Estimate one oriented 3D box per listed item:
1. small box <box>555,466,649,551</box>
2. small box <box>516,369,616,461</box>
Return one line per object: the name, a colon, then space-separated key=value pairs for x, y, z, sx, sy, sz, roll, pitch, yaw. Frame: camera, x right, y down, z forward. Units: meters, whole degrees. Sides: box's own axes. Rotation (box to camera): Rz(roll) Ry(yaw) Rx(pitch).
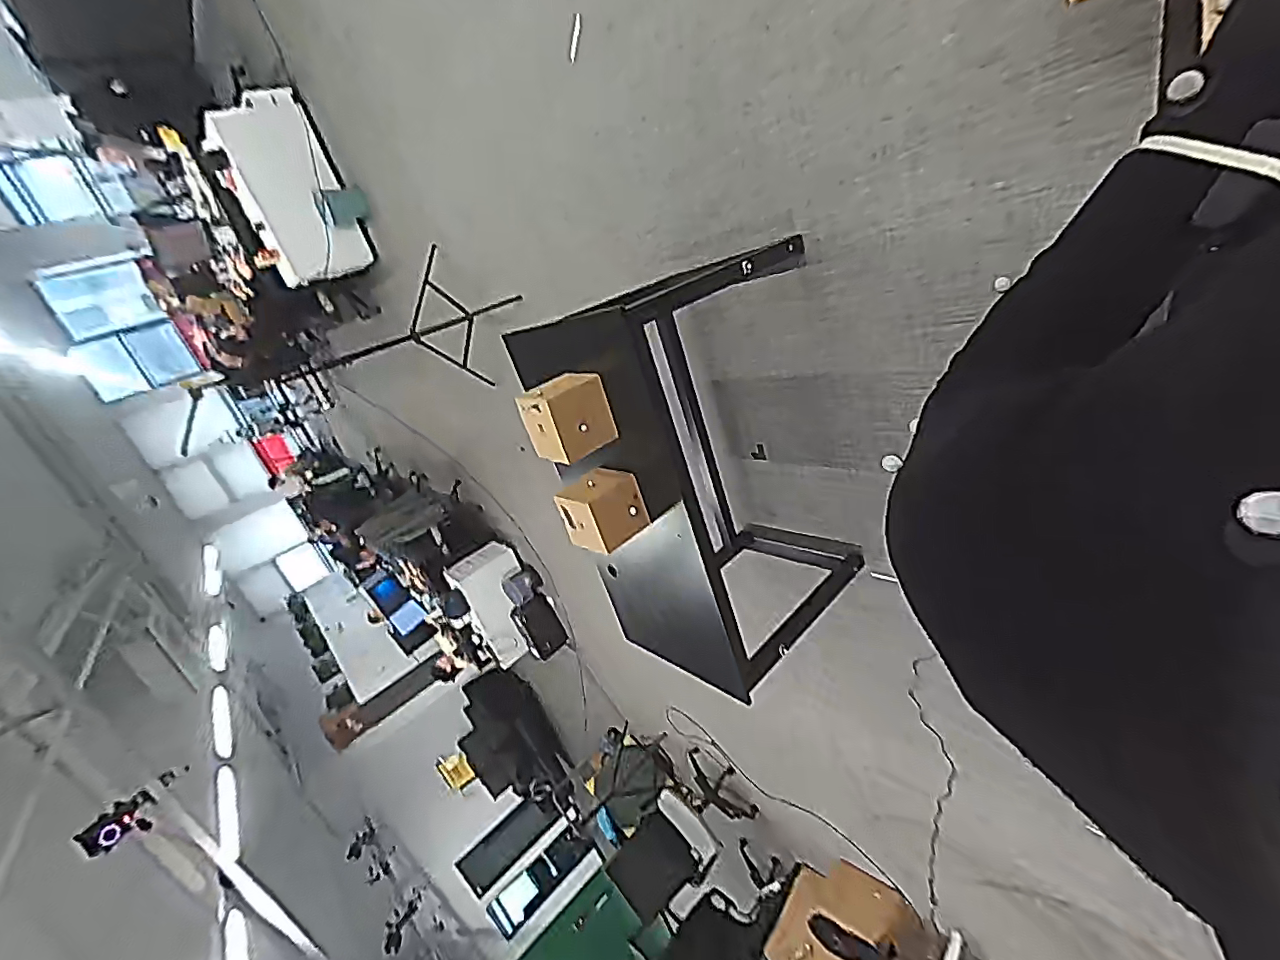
small box: x=-0.103 y=0.073 z=1.517 sx=0.179 sy=0.176 sz=0.168 roll=10 pitch=127 yaw=50
small box: x=-0.187 y=-0.173 z=1.407 sx=0.168 sy=0.176 sz=0.179 roll=14 pitch=130 yaw=49
